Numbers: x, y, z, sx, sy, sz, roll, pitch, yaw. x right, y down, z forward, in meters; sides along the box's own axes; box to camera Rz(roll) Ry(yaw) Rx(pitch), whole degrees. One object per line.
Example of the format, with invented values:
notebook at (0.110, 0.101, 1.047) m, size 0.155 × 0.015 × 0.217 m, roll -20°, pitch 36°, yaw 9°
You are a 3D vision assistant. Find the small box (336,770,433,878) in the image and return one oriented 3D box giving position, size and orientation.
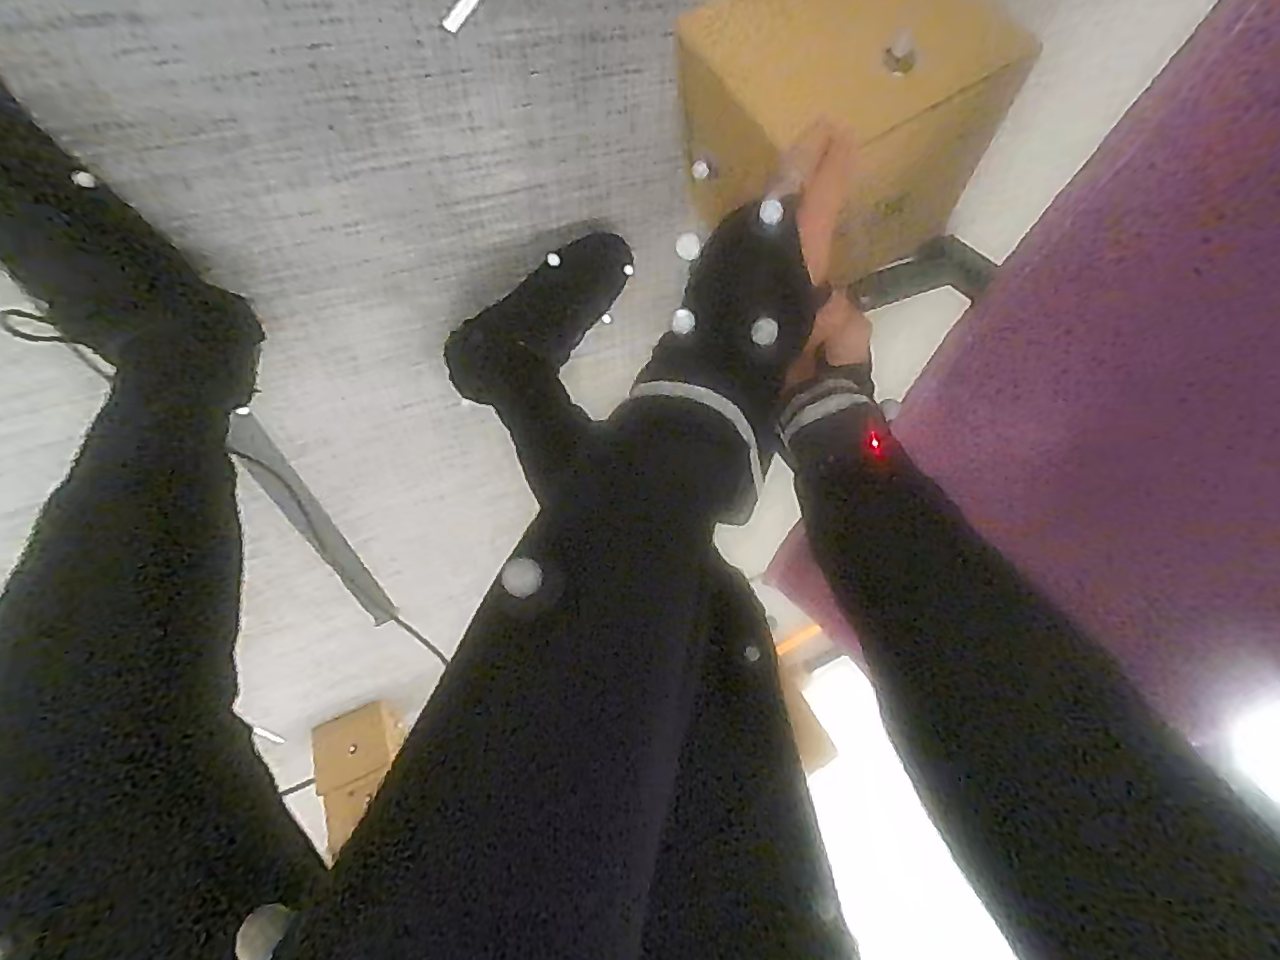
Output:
small box at (-0.629, 0.846, 1.335) m, size 0.168 × 0.176 × 0.179 m, roll -18°, pitch 144°, yaw -17°

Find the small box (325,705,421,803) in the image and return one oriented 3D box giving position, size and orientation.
small box at (-0.701, 0.723, 1.414) m, size 0.179 × 0.176 × 0.168 m, roll -22°, pitch 145°, yaw -14°
